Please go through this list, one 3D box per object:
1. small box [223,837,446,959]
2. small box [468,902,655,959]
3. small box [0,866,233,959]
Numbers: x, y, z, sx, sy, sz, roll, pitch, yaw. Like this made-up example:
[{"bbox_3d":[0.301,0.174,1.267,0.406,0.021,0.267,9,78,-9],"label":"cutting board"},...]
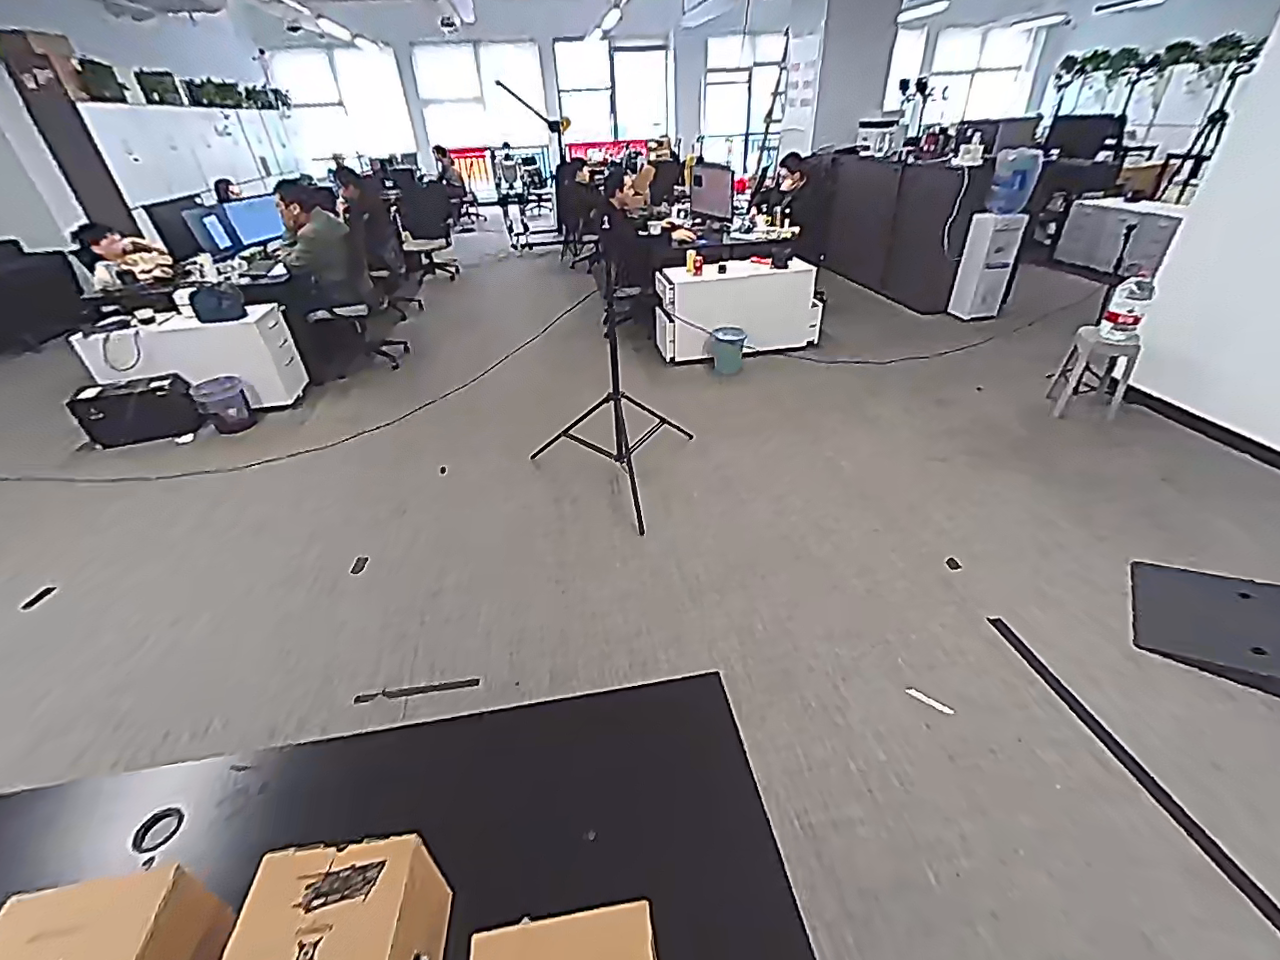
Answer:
[{"bbox_3d":[-0.315,0.516,0.569,0.168,0.176,0.179,-5,35,-4],"label":"small box"},{"bbox_3d":[-0.064,0.543,0.511,0.179,0.176,0.168,-7,34,-6],"label":"small box"},{"bbox_3d":[-0.563,0.541,0.550,0.168,0.176,0.179,-7,33,-8],"label":"small box"}]
